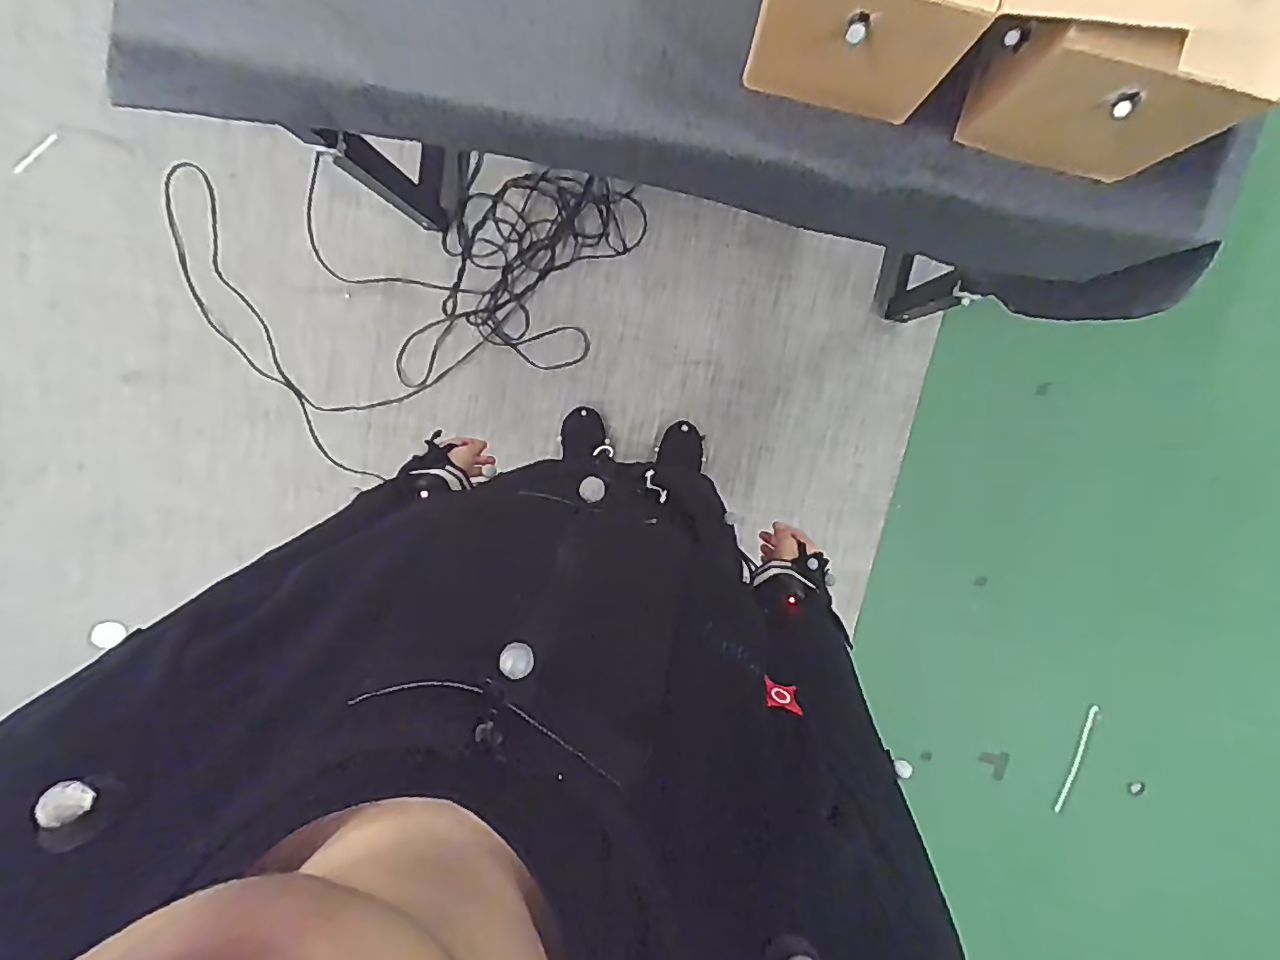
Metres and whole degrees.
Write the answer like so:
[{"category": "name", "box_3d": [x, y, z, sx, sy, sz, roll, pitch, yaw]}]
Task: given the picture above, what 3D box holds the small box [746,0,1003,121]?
[{"category": "small box", "box_3d": [0.208, -0.455, 0.476, 0.179, 0.176, 0.168, 14, 98, 0]}]
